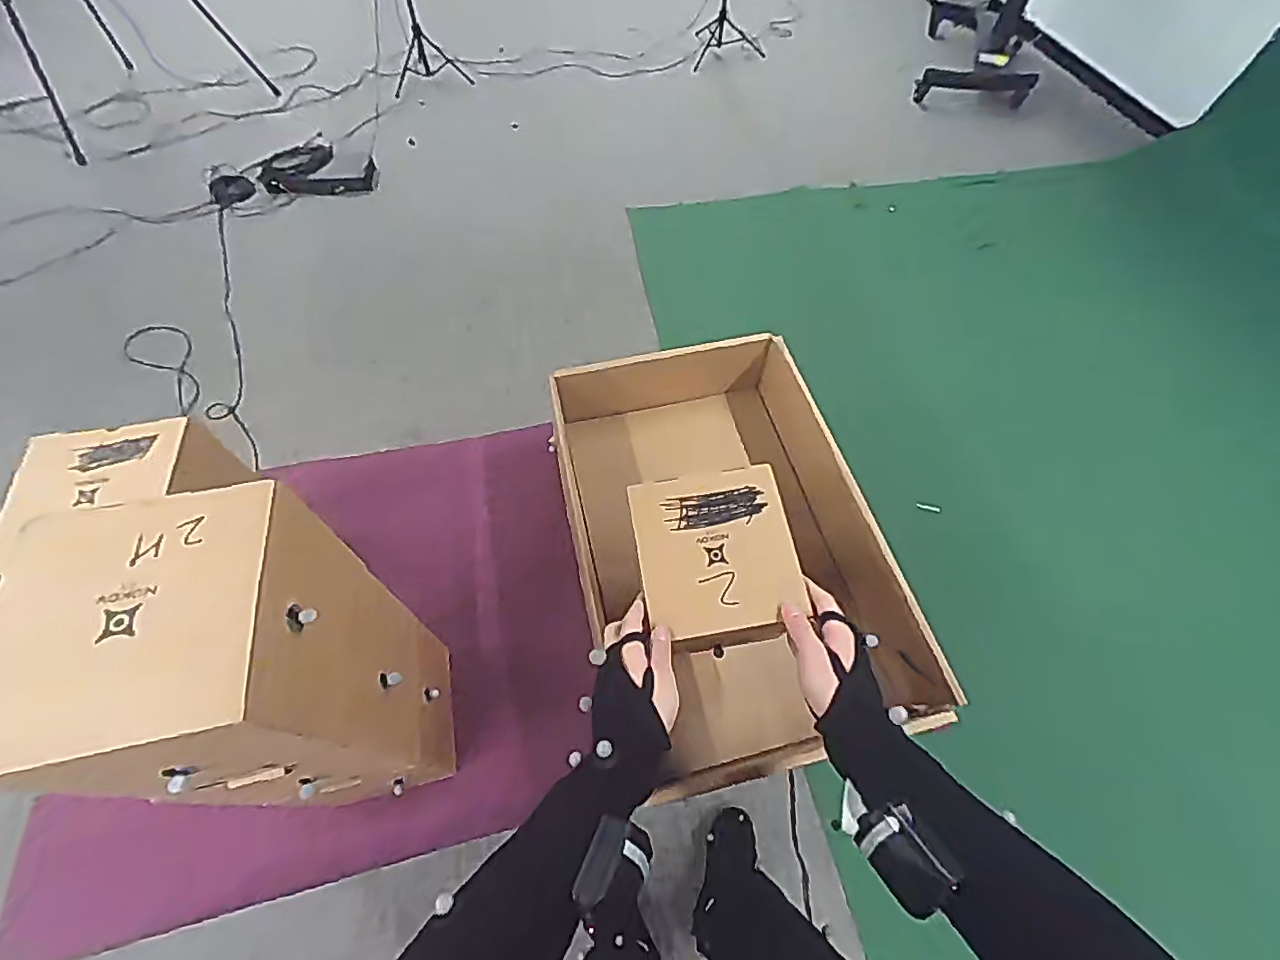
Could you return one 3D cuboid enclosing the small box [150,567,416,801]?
[{"bbox_3d":[-0.340,0.214,0.558,0.168,0.176,0.179,-10,59,-9],"label":"small box"}]

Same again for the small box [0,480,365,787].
[{"bbox_3d":[-0.331,0.126,0.418,0.168,0.176,0.179,-9,58,-8],"label":"small box"}]

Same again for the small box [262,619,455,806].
[{"bbox_3d":[-0.343,0.302,0.696,0.168,0.176,0.179,-10,58,-8],"label":"small box"}]

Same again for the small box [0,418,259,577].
[{"bbox_3d":[-0.583,0.052,0.650,0.168,0.176,0.179,-9,60,-6],"label":"small box"}]
